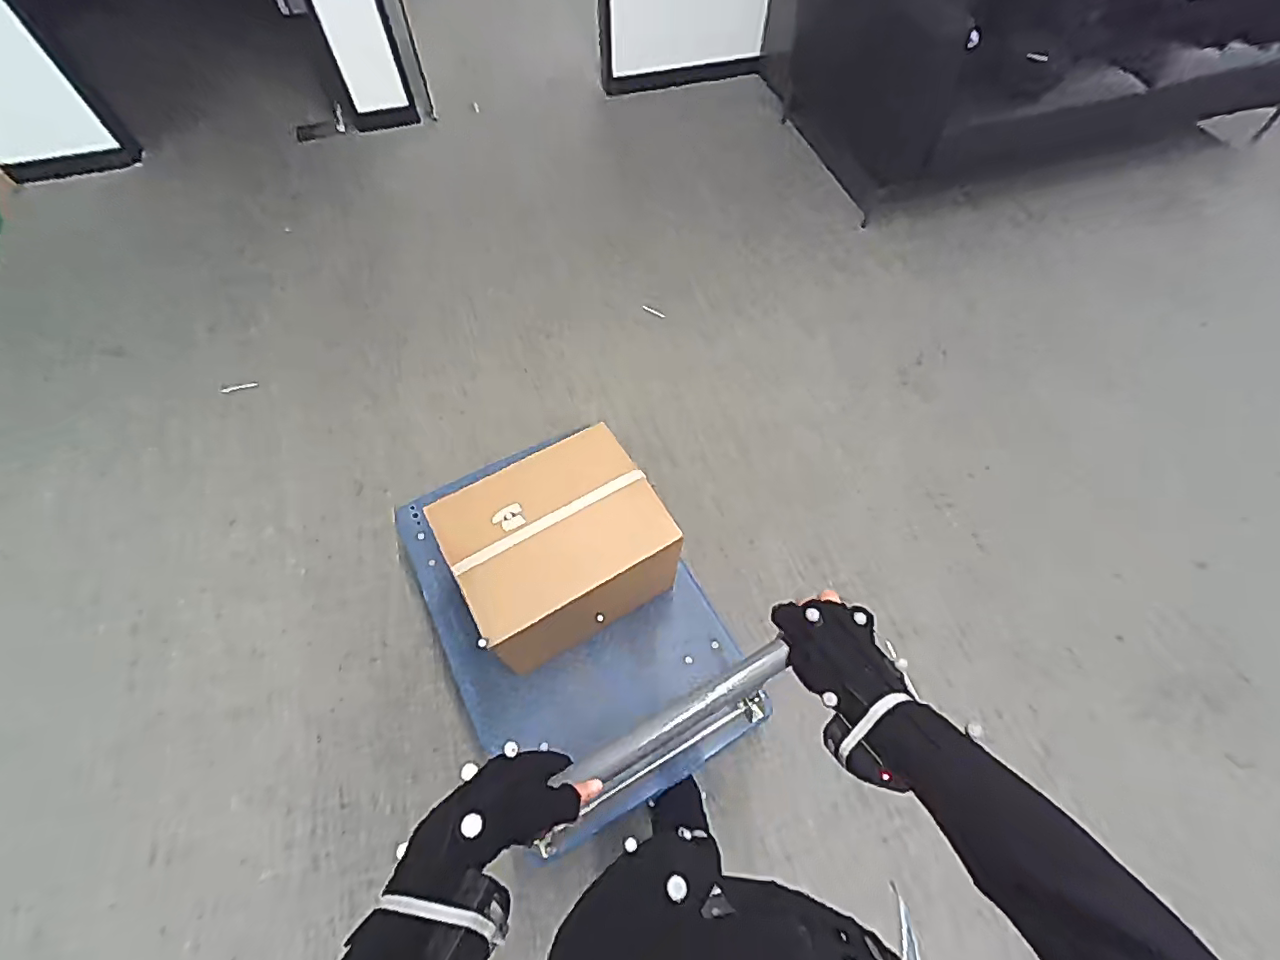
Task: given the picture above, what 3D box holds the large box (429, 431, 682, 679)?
[{"bbox_3d":[-0.165,0.168,1.166,0.408,0.320,0.320,-28,64,-16],"label":"large box"}]
